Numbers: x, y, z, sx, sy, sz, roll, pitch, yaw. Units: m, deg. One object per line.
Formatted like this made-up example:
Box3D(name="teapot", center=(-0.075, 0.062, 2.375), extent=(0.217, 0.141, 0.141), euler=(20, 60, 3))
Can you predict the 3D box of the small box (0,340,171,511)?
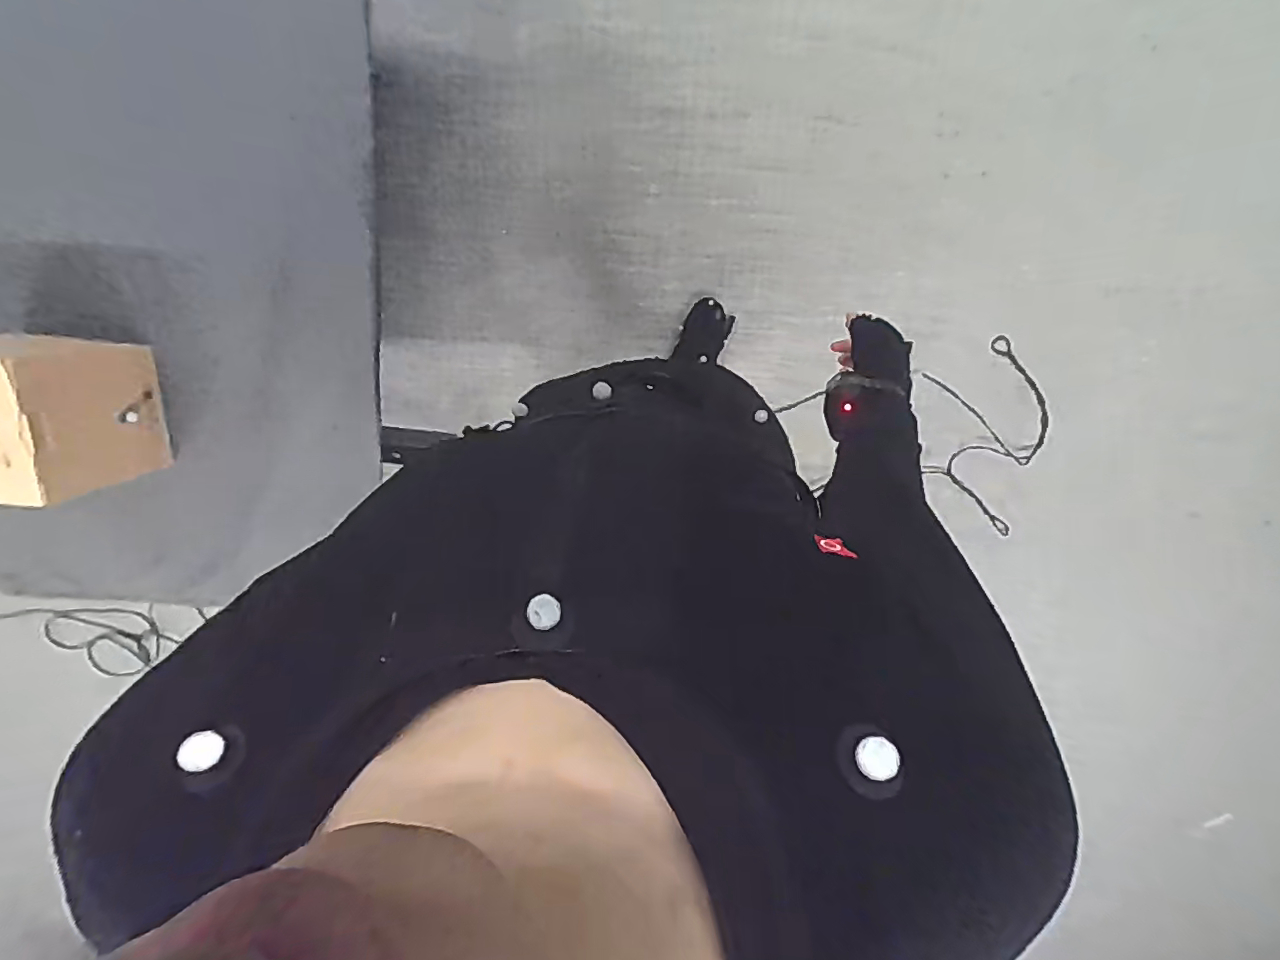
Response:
Box3D(name="small box", center=(-0.731, -0.075, 0.653), extent=(0.179, 0.176, 0.168), euler=(5, 108, 0))
